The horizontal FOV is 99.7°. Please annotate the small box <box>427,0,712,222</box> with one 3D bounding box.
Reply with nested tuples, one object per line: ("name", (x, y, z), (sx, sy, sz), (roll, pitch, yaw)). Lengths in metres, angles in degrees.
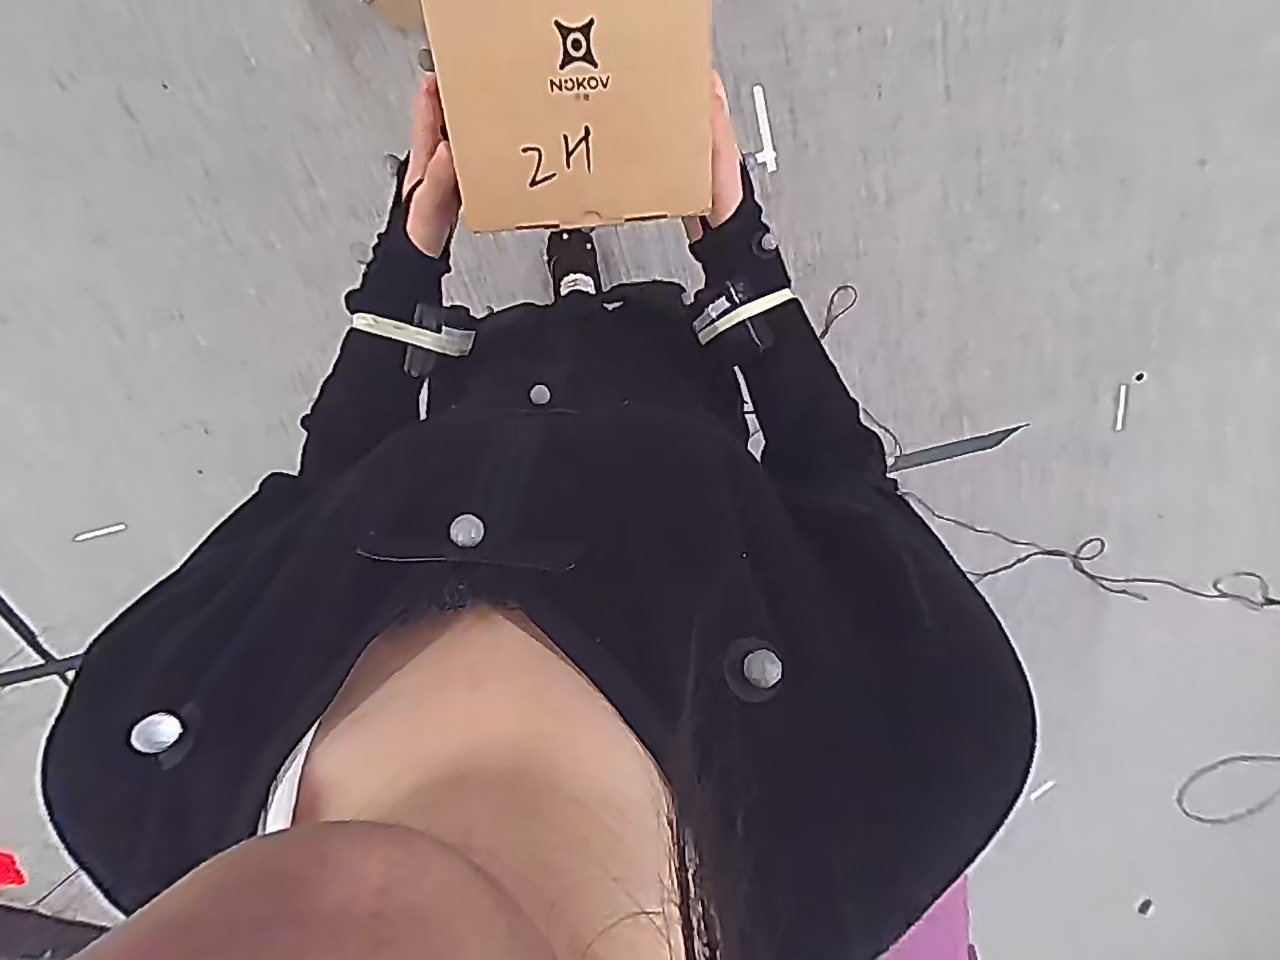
("small box", (-0.048, -0.291, 0.388), (0.168, 0.176, 0.179), (-6, 120, -4))
